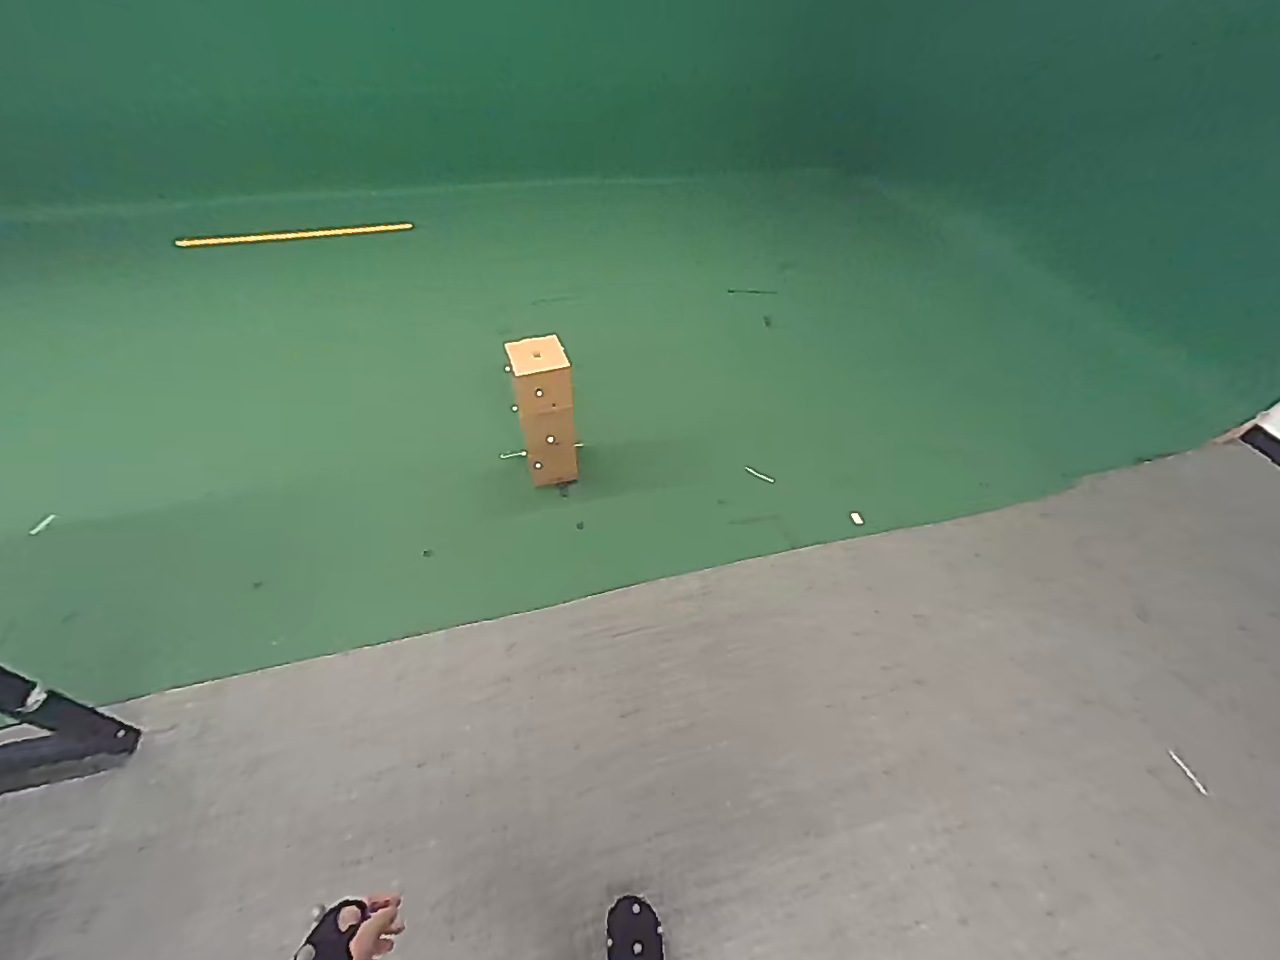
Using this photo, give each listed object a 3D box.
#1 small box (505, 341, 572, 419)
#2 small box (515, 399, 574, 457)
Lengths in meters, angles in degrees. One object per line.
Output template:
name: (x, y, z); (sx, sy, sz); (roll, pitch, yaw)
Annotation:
small box: (-0.317, -0.309, 1.711); (0.168, 0.176, 0.179); (-14, 49, -15)
small box: (-0.325, -0.203, 1.833); (0.168, 0.176, 0.179); (-13, 50, -13)
